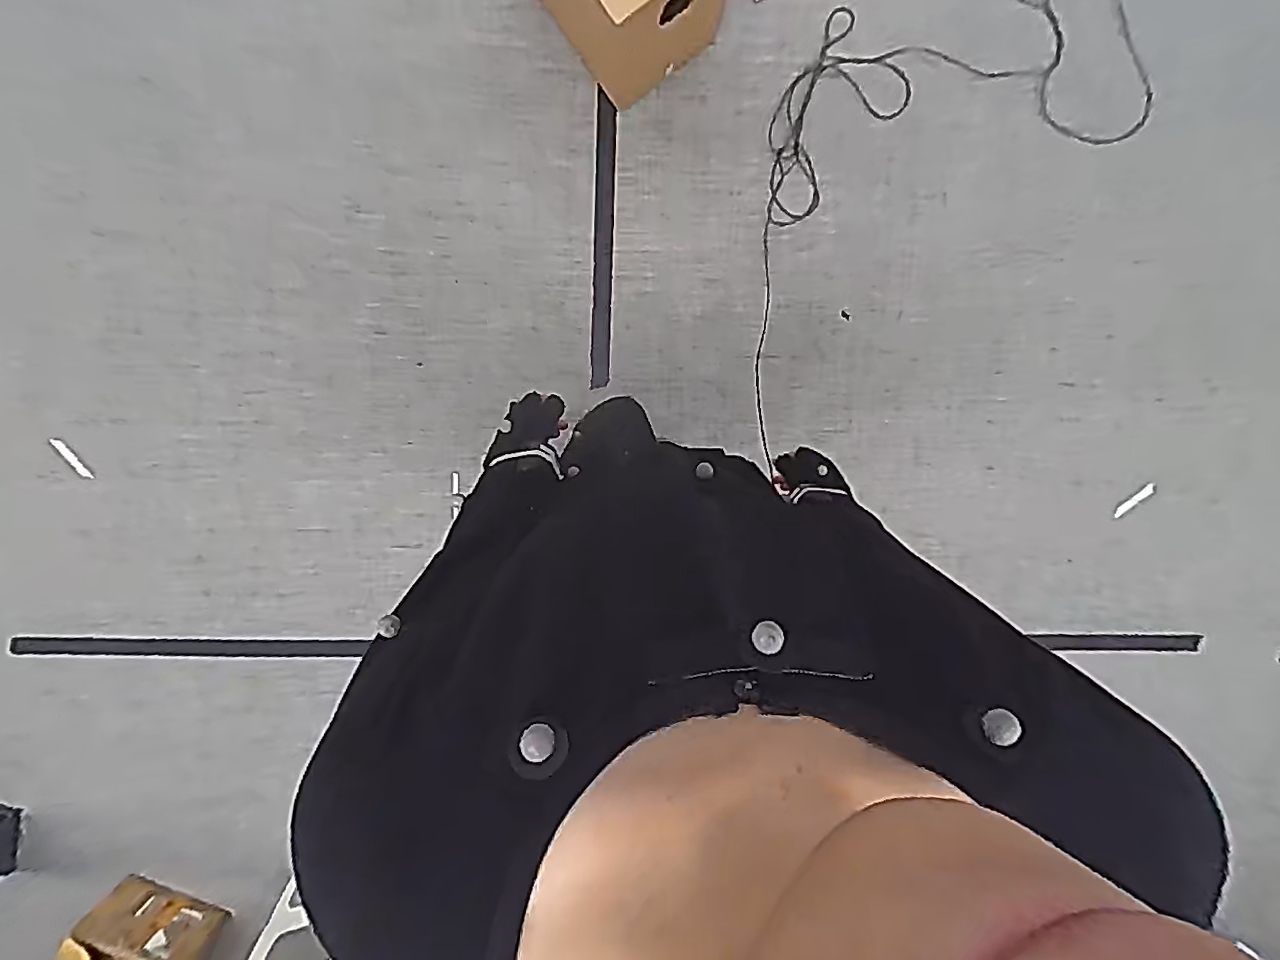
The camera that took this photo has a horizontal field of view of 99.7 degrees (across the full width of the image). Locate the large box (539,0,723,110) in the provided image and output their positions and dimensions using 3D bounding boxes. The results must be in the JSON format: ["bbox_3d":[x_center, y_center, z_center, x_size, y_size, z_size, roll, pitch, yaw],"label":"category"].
[{"bbox_3d":[-0.044,-1.165,1.203,0.320,0.320,0.408,-37,97,3],"label":"large box"}]
